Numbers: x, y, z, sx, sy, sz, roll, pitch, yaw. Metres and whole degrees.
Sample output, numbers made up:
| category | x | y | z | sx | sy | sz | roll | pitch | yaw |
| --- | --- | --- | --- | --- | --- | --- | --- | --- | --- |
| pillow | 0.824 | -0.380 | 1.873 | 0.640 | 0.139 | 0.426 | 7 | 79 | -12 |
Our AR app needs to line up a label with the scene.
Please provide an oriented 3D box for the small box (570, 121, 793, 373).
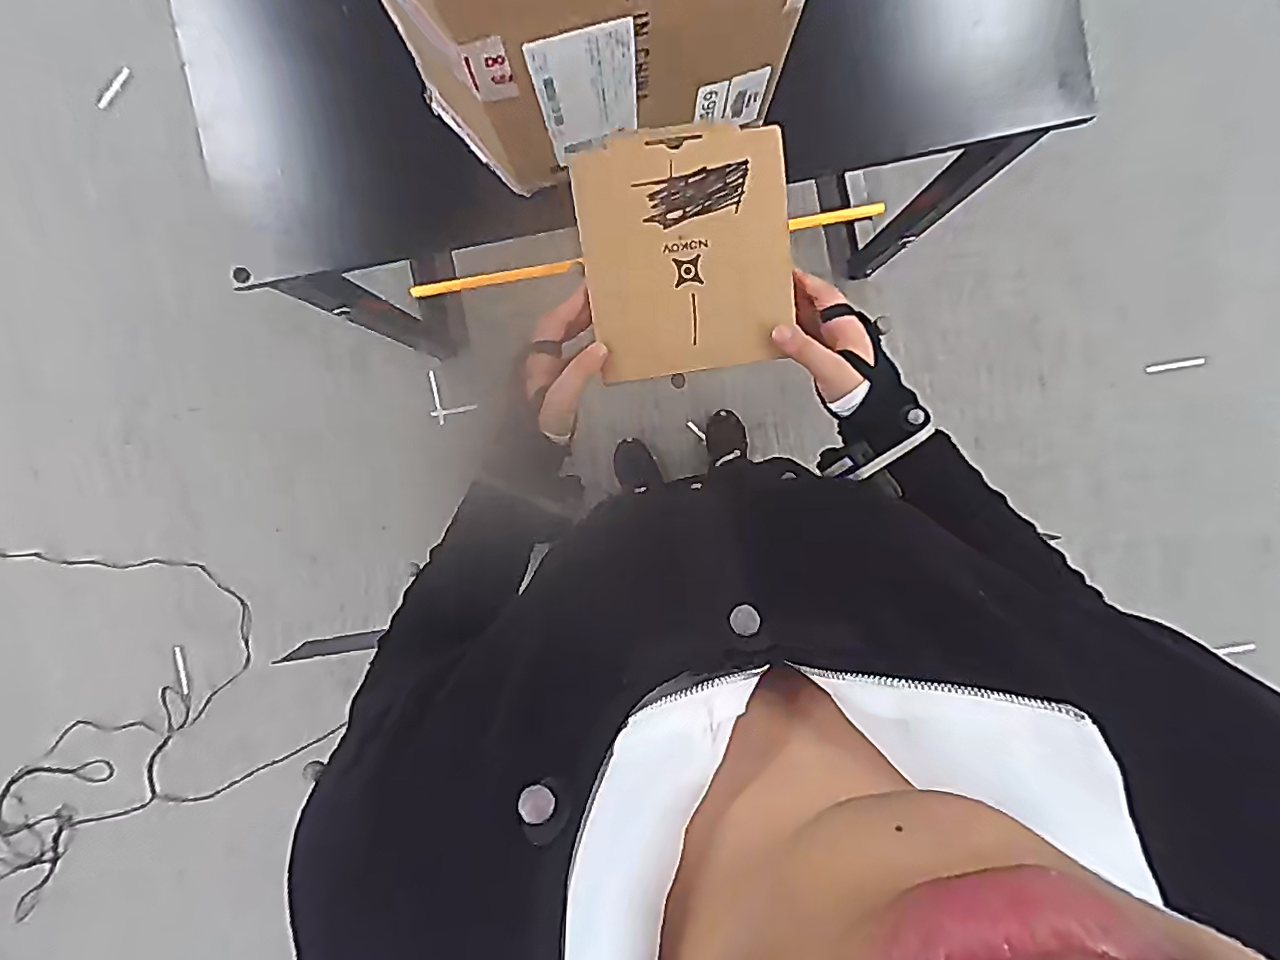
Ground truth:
| category | x | y | z | sx | sy | sz | roll | pitch | yaw |
| --- | --- | --- | --- | --- | --- | --- | --- | --- | --- |
| small box | 0.031 | -0.197 | 0.508 | 0.168 | 0.176 | 0.179 | -9 | 102 | -1 |
